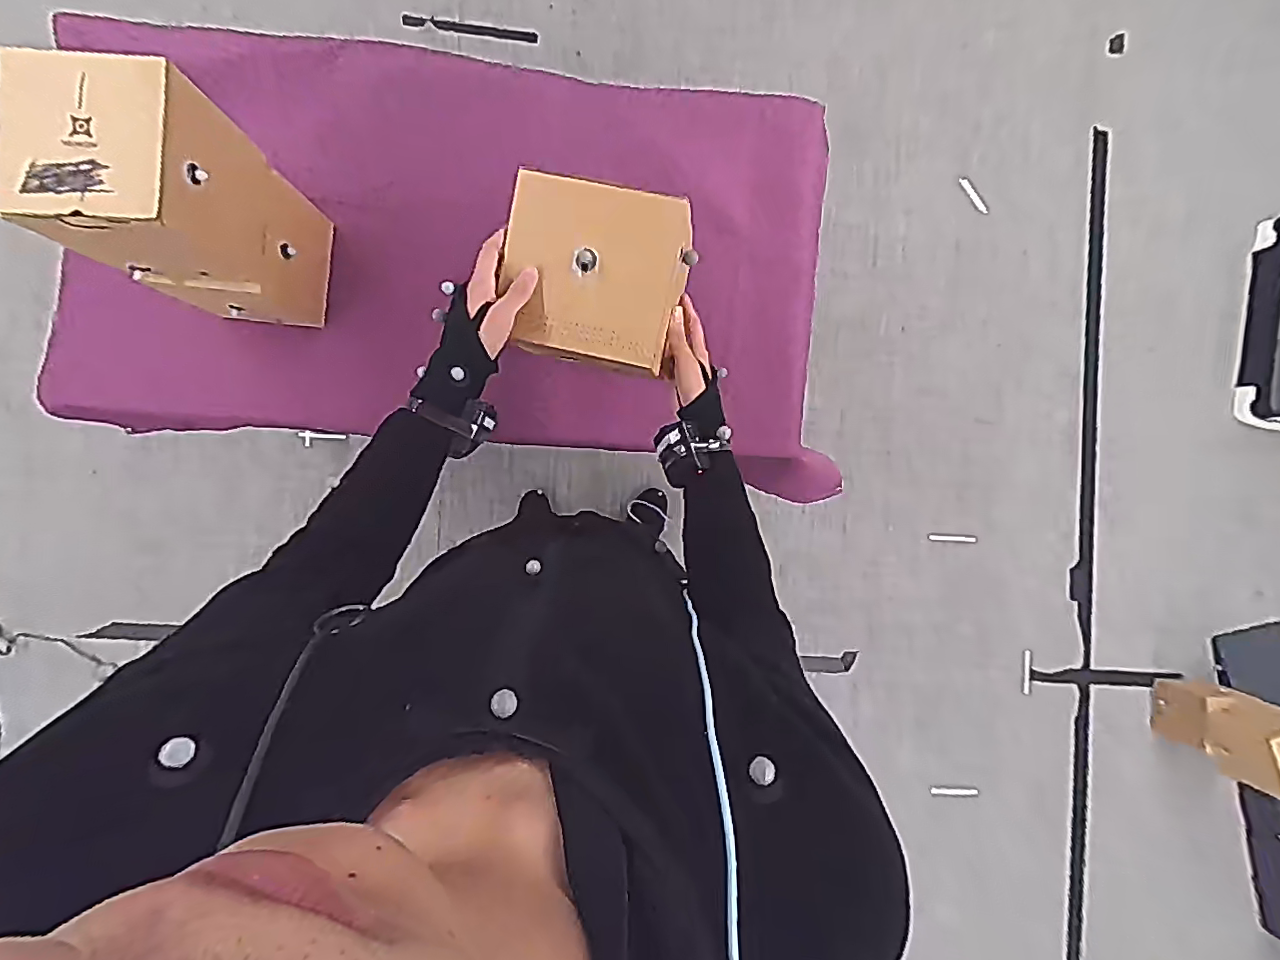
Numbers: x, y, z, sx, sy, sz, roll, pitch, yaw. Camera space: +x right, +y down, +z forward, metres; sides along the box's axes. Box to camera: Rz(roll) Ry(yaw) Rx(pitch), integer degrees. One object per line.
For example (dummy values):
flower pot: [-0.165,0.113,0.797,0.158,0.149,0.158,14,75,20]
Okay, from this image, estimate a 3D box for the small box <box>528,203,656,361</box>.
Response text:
small box: [-0.070,-0.290,0.834,0.168,0.176,0.179,6,89,-3]

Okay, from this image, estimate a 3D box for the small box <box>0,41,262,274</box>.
small box: [-0.578,-0.357,0.633,0.168,0.176,0.179,2,90,-4]

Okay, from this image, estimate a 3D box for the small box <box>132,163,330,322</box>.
small box: [-0.586,-0.346,0.797,0.168,0.176,0.179,6,90,-4]
